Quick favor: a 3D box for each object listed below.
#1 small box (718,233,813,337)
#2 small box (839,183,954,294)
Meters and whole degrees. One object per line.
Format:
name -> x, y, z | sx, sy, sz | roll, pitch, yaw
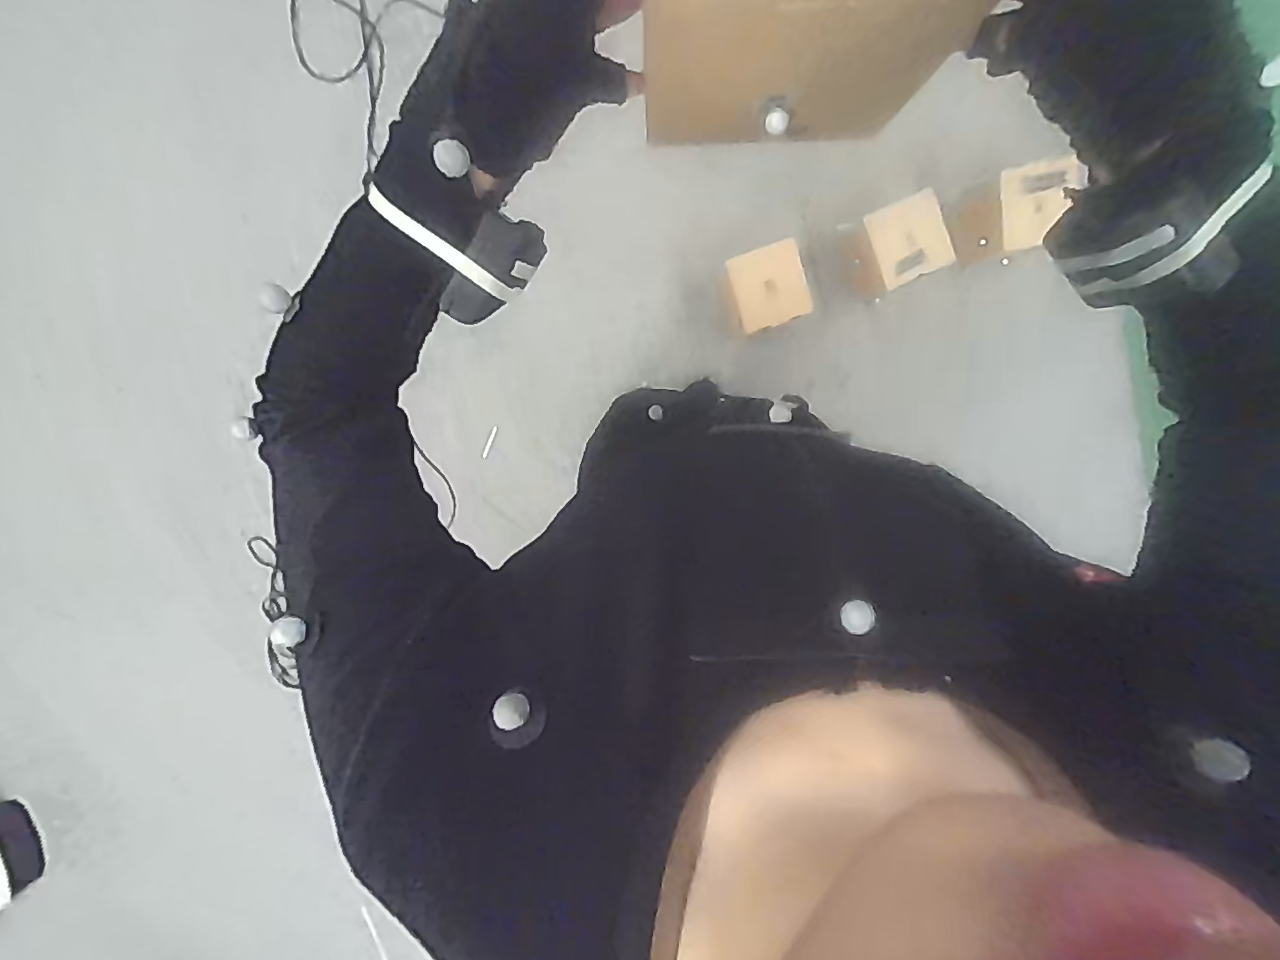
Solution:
small box -> 0.296, -0.462, 1.307 | 0.168, 0.176, 0.179 | -19, 99, 6
small box -> 0.598, -0.556, 1.279 | 0.168, 0.176, 0.179 | -23, 97, 5
